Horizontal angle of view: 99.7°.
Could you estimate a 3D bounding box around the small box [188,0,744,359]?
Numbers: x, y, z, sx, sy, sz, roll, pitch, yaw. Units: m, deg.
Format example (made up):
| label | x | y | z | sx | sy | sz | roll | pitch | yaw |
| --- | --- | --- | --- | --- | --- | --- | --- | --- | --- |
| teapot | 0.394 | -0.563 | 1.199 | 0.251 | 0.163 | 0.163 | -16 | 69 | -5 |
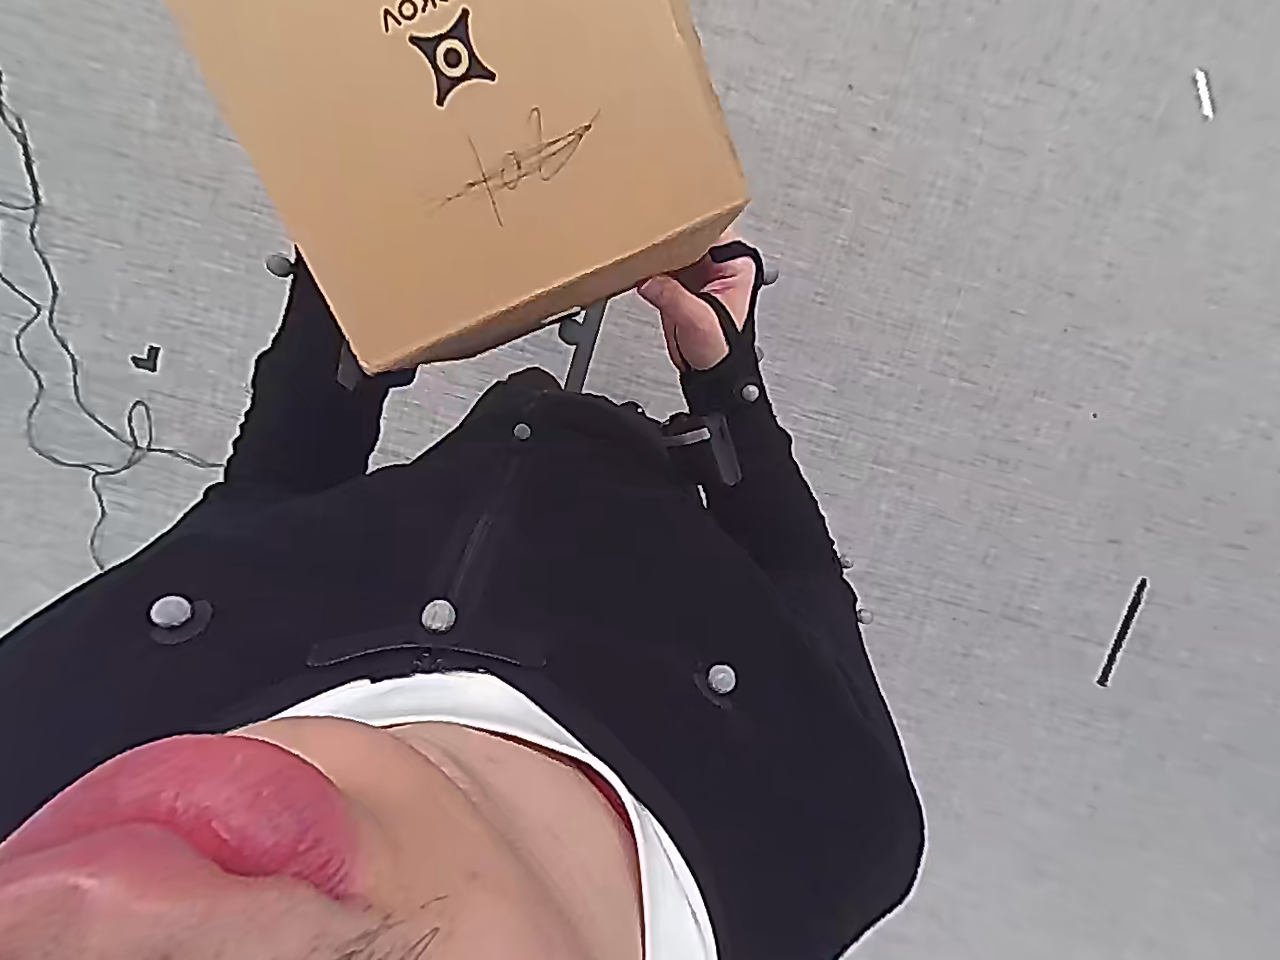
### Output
| label | x | y | z | sx | sy | sz | roll | pitch | yaw |
| --- | --- | --- | --- | --- | --- | --- | --- | --- | --- |
| small box | -0.068 | -0.177 | 0.278 | 0.168 | 0.176 | 0.179 | -24 | 105 | 6 |
